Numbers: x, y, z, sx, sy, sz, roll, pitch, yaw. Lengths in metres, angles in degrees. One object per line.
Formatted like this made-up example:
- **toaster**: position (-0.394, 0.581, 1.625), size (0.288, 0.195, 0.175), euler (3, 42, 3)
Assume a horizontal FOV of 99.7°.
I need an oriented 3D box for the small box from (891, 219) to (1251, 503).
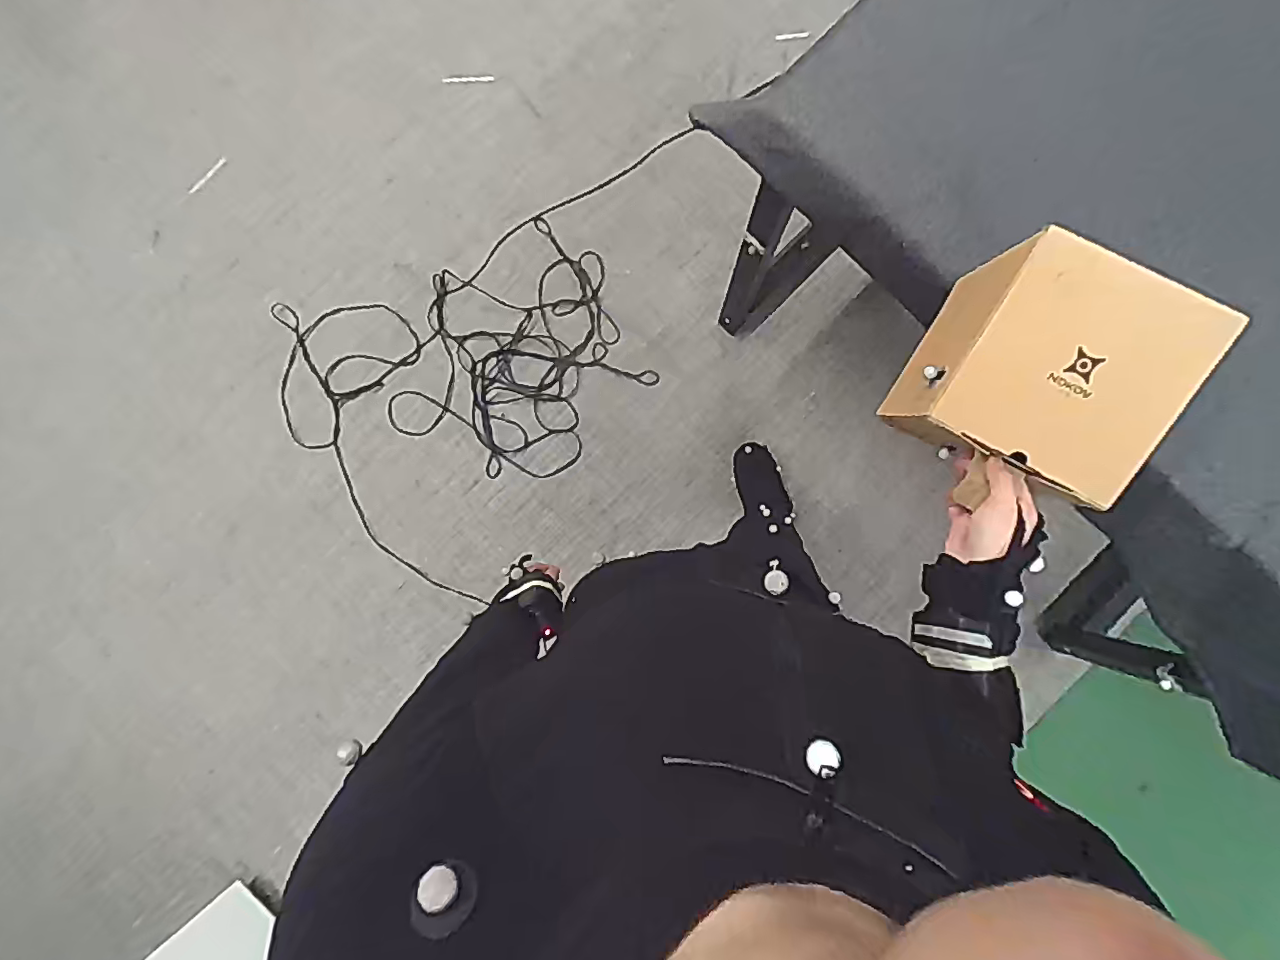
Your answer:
- **small box**: position (0.371, -0.104, 0.512), size (0.168, 0.176, 0.179), euler (29, 101, 4)
